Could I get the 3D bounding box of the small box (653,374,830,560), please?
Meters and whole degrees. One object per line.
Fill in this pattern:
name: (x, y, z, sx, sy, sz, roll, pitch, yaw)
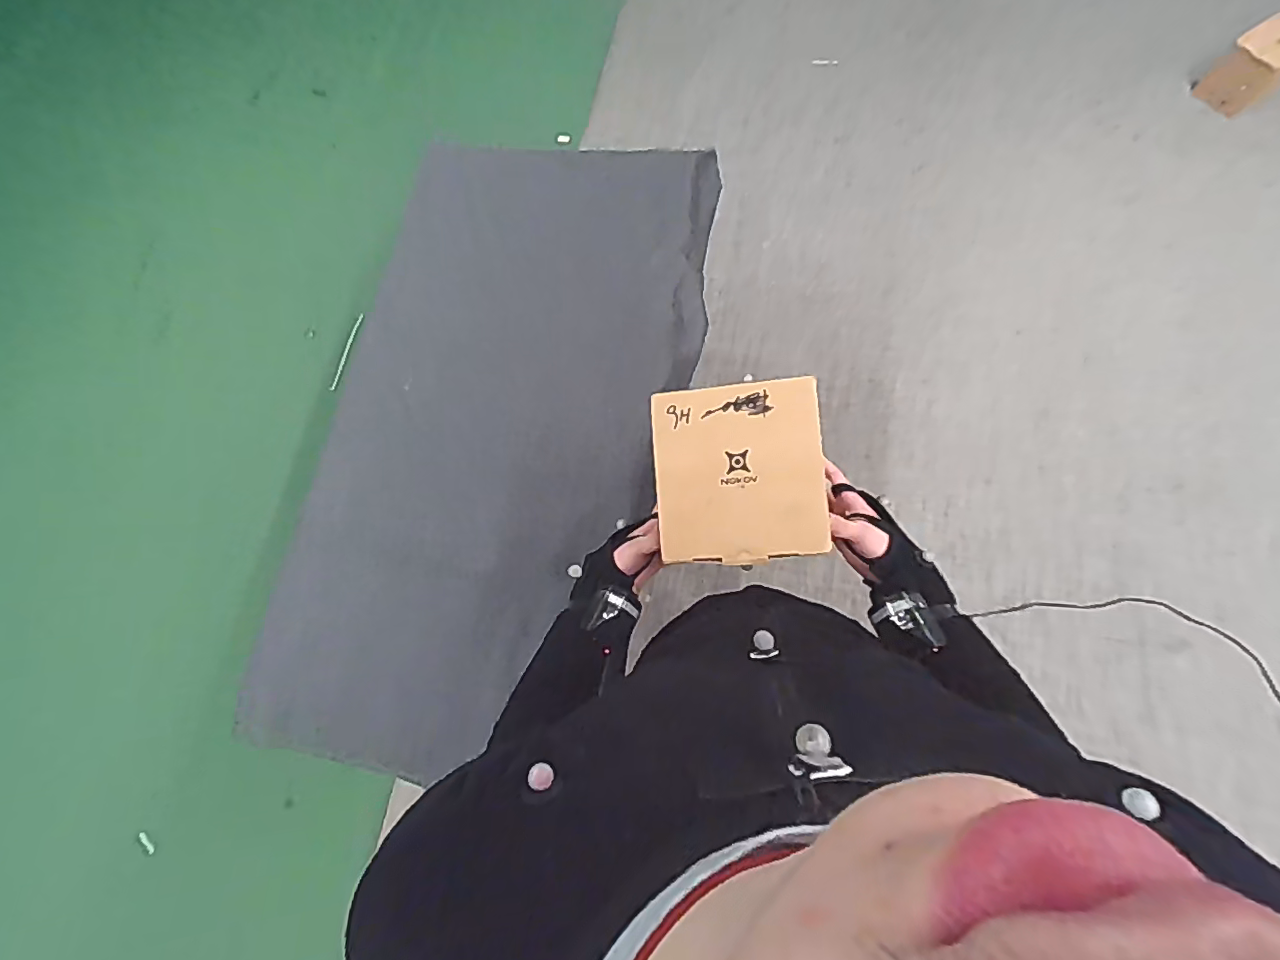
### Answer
small box: (0.111, -0.007, 0.608, 0.168, 0.176, 0.179, -4, 85, 10)
